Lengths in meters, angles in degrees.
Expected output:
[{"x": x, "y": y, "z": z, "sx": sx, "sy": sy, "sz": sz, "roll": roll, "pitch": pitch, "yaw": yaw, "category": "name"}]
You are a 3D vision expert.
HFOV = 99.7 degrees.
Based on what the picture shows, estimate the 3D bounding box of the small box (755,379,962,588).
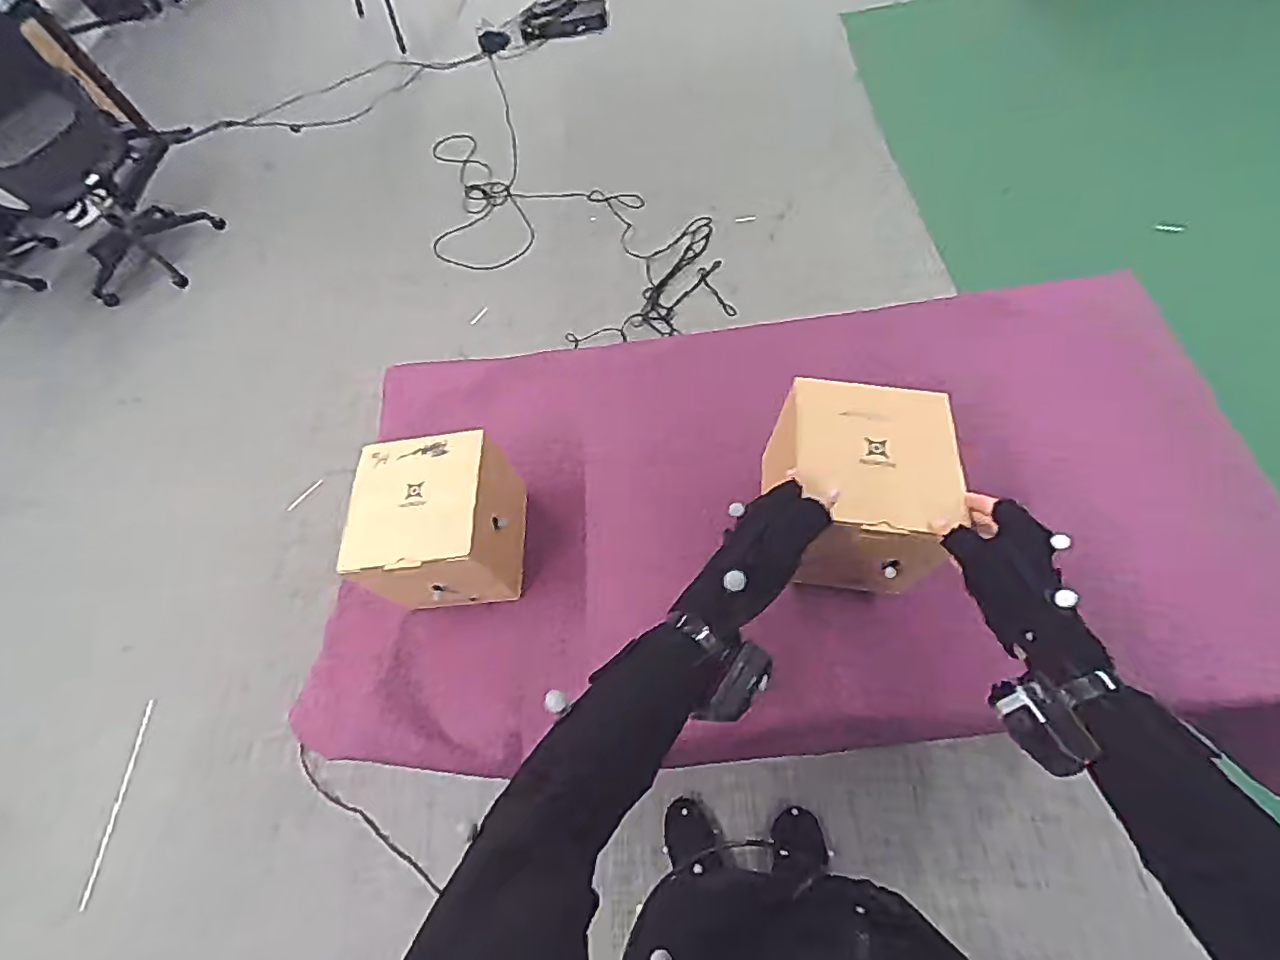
[{"x": 0.230, "y": 0.011, "z": 0.616, "sx": 0.168, "sy": 0.176, "sz": 0.179, "roll": 6, "pitch": 61, "yaw": 3, "category": "small box"}]

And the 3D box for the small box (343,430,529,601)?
[{"x": -0.256, "y": 0.057, "z": 0.724, "sx": 0.168, "sy": 0.176, "sz": 0.179, "roll": -7, "pitch": 62, "yaw": 6, "category": "small box"}]
